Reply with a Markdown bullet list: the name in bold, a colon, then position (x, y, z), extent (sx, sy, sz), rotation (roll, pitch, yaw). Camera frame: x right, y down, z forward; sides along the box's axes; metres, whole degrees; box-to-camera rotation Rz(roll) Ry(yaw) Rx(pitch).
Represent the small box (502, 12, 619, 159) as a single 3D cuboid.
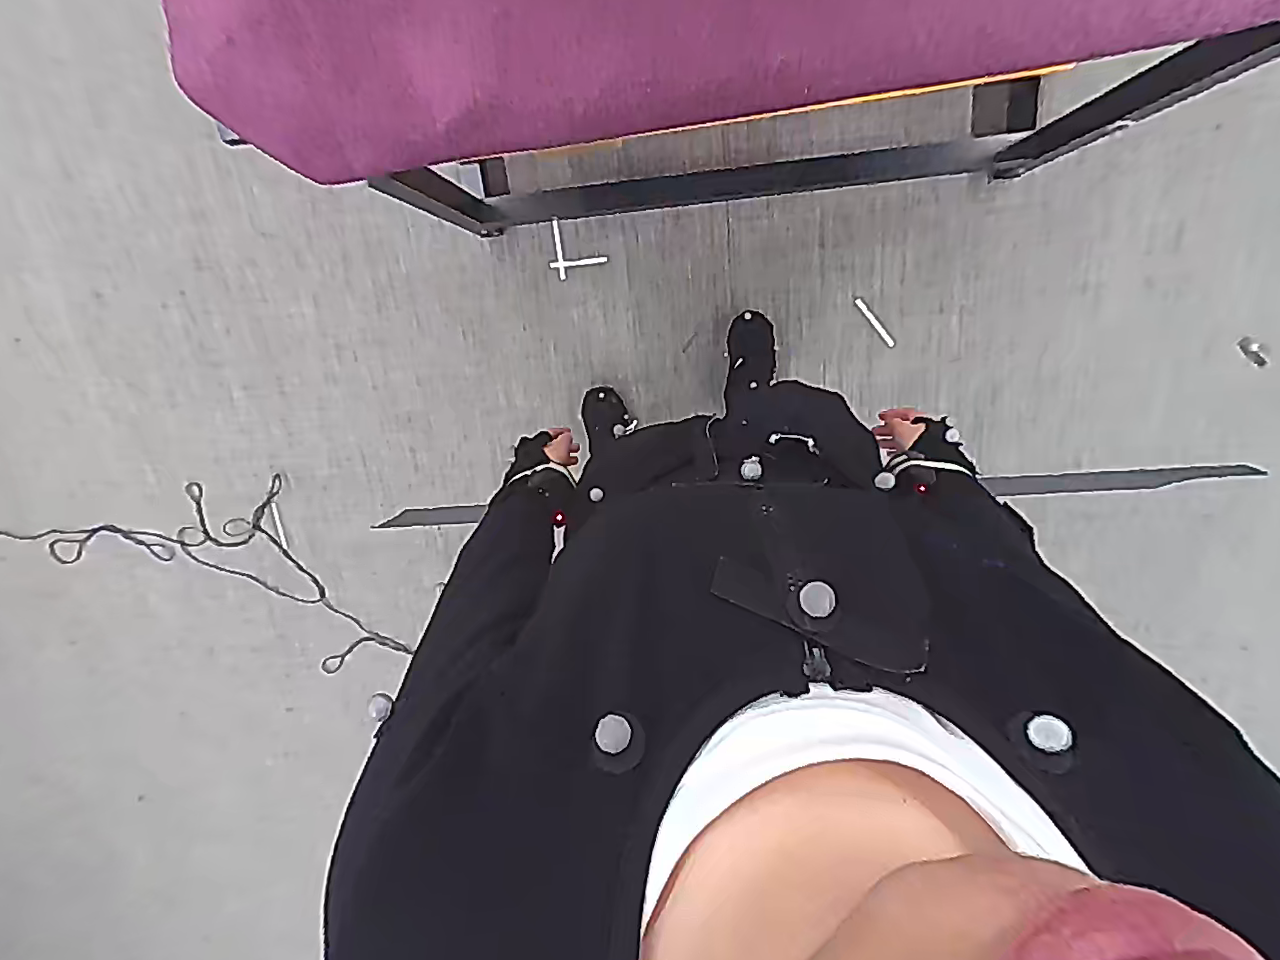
- **small box**: position (-0.134, -0.712, 0.996), extent (0.179, 0.176, 0.168), rotation (-5, 107, 5)
